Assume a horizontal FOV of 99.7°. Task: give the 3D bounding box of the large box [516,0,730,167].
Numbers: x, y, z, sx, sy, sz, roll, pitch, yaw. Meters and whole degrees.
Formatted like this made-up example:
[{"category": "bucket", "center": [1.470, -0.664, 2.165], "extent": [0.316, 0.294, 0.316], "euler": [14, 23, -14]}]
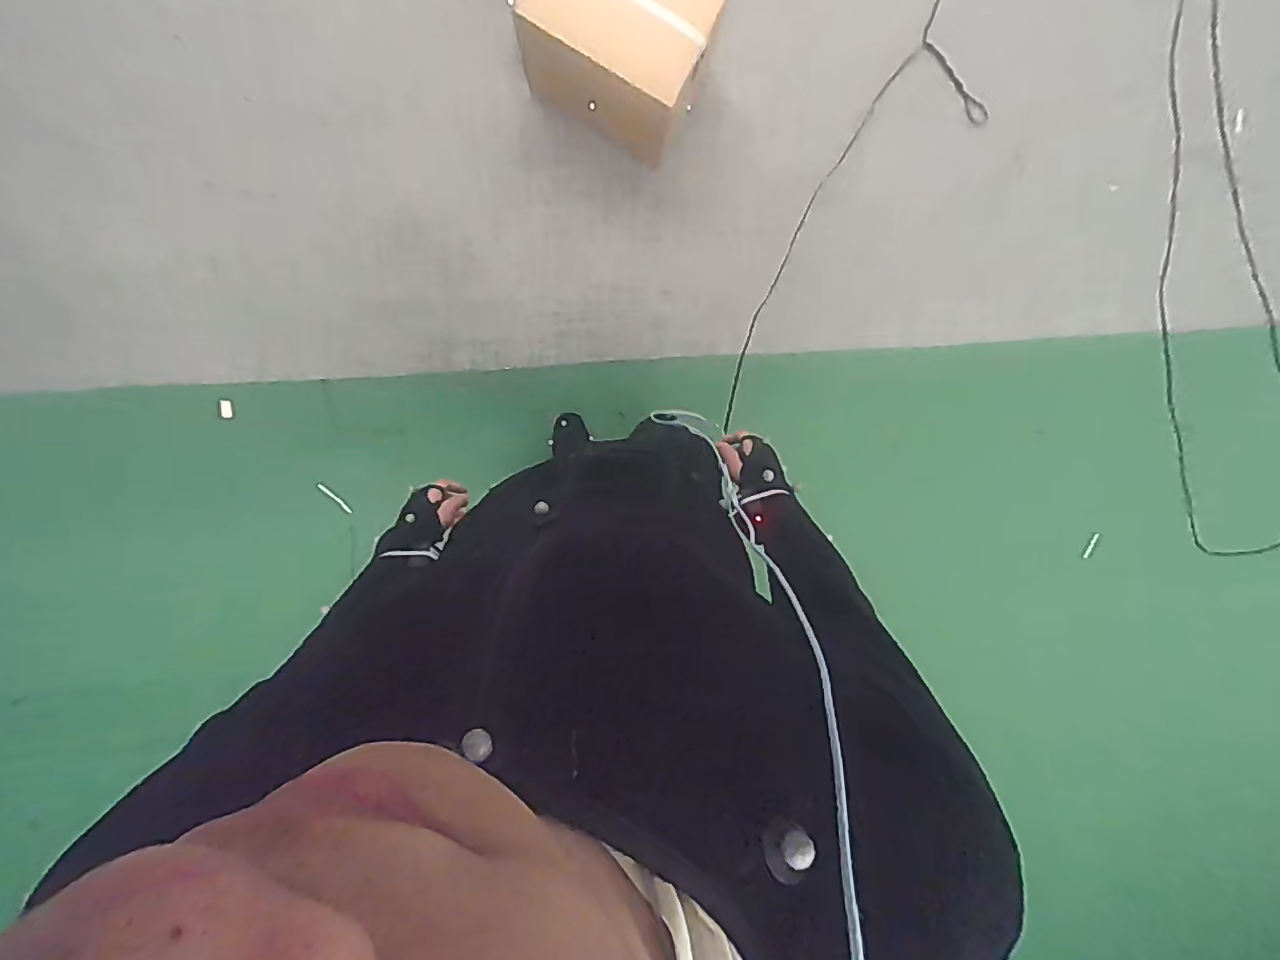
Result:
[{"category": "large box", "center": [-0.039, -1.078, 1.347], "extent": [0.408, 0.320, 0.320], "euler": [27, 94, -6]}]
